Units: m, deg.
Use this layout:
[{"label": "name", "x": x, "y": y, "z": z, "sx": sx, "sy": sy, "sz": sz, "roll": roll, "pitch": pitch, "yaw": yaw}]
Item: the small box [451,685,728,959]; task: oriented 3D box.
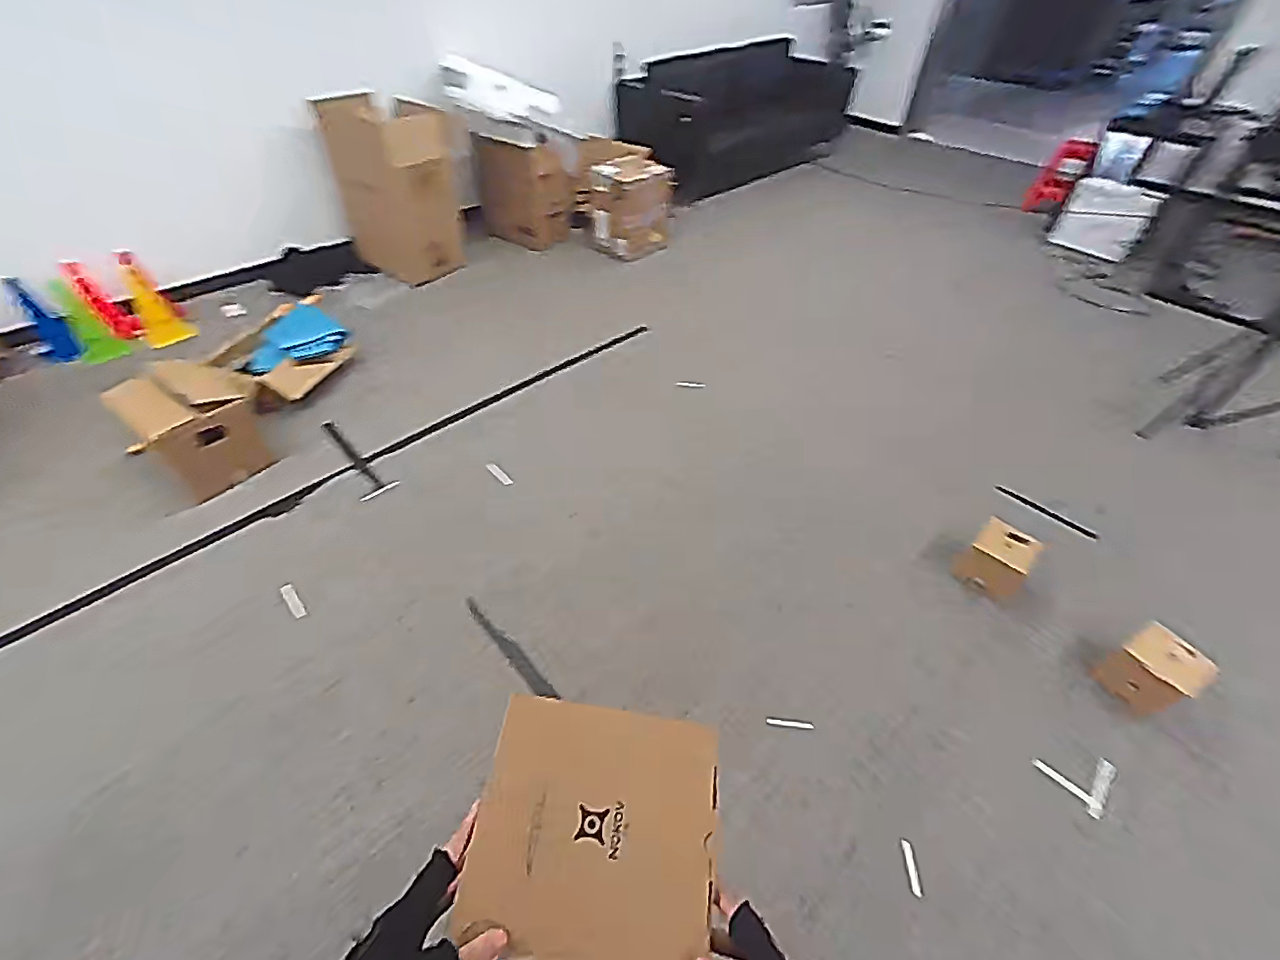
[{"label": "small box", "x": -0.031, "y": 0.294, "z": 0.452, "sx": 0.179, "sy": 0.176, "sz": 0.168, "roll": 8, "pitch": 48, "yaw": 1}]

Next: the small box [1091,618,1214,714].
[{"label": "small box", "x": 1.455, "y": 0.537, "z": 1.551, "sx": 0.179, "sy": 0.176, "sz": 0.168, "roll": -22, "pitch": 51, "yaw": -21}]

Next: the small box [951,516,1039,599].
[{"label": "small box", "x": 1.184, "y": 0.261, "z": 1.814, "sx": 0.168, "sy": 0.176, "sz": 0.179, "roll": 35, "pitch": 55, "yaw": 28}]
